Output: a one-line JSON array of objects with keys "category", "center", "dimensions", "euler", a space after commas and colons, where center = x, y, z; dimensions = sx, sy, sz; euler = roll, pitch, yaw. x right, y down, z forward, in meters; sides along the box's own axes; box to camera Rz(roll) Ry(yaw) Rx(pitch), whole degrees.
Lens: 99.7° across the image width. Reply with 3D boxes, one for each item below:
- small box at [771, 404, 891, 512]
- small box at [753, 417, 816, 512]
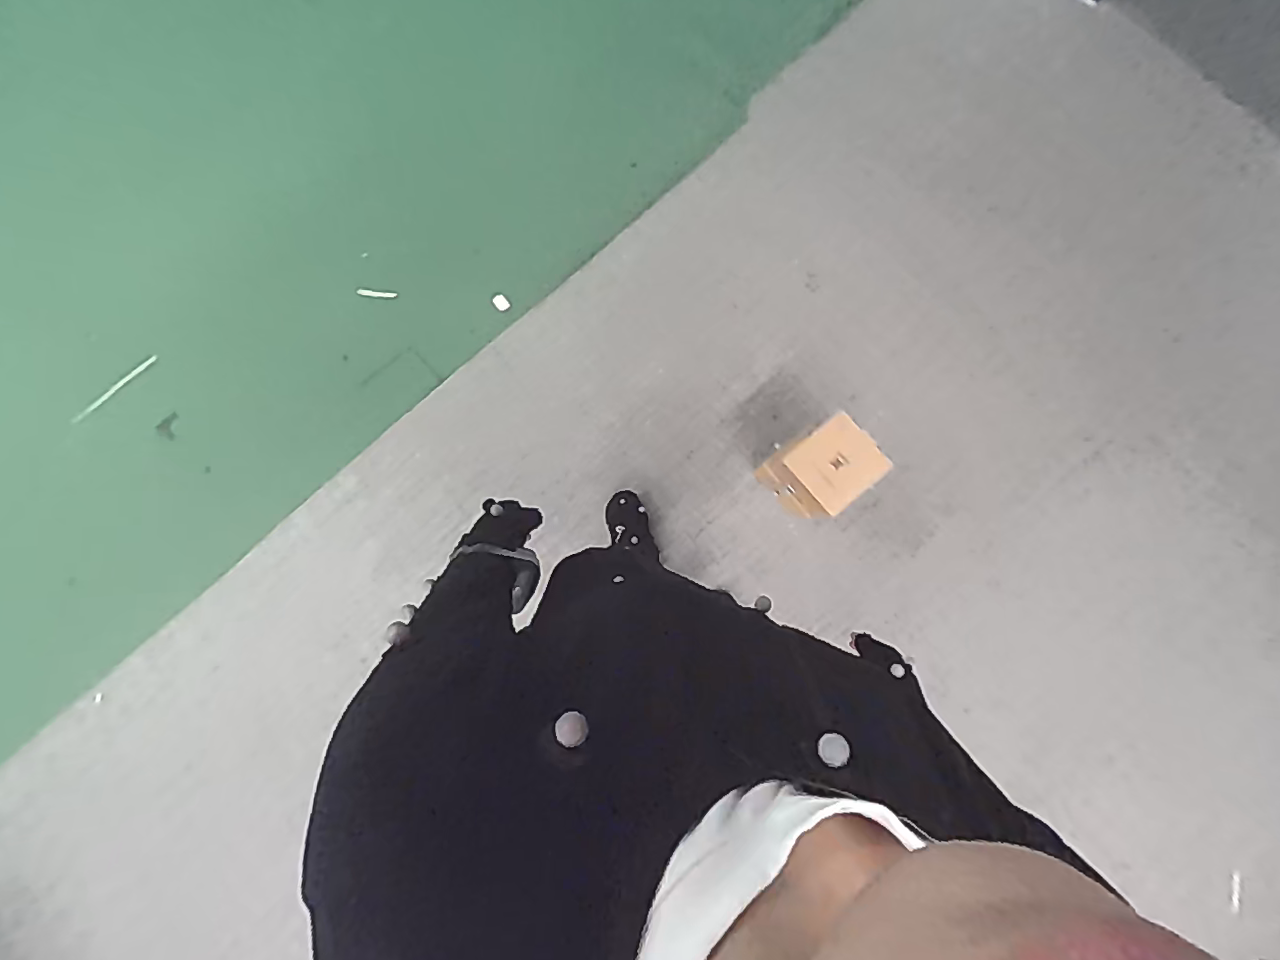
[{"category": "small box", "center": [0.423, -0.043, 1.235], "dimensions": [0.179, 0.176, 0.168], "euler": [-40, 82, -1]}, {"category": "small box", "center": [0.416, -0.033, 1.396], "dimensions": [0.168, 0.176, 0.179], "euler": [-39, 83, -1]}]
